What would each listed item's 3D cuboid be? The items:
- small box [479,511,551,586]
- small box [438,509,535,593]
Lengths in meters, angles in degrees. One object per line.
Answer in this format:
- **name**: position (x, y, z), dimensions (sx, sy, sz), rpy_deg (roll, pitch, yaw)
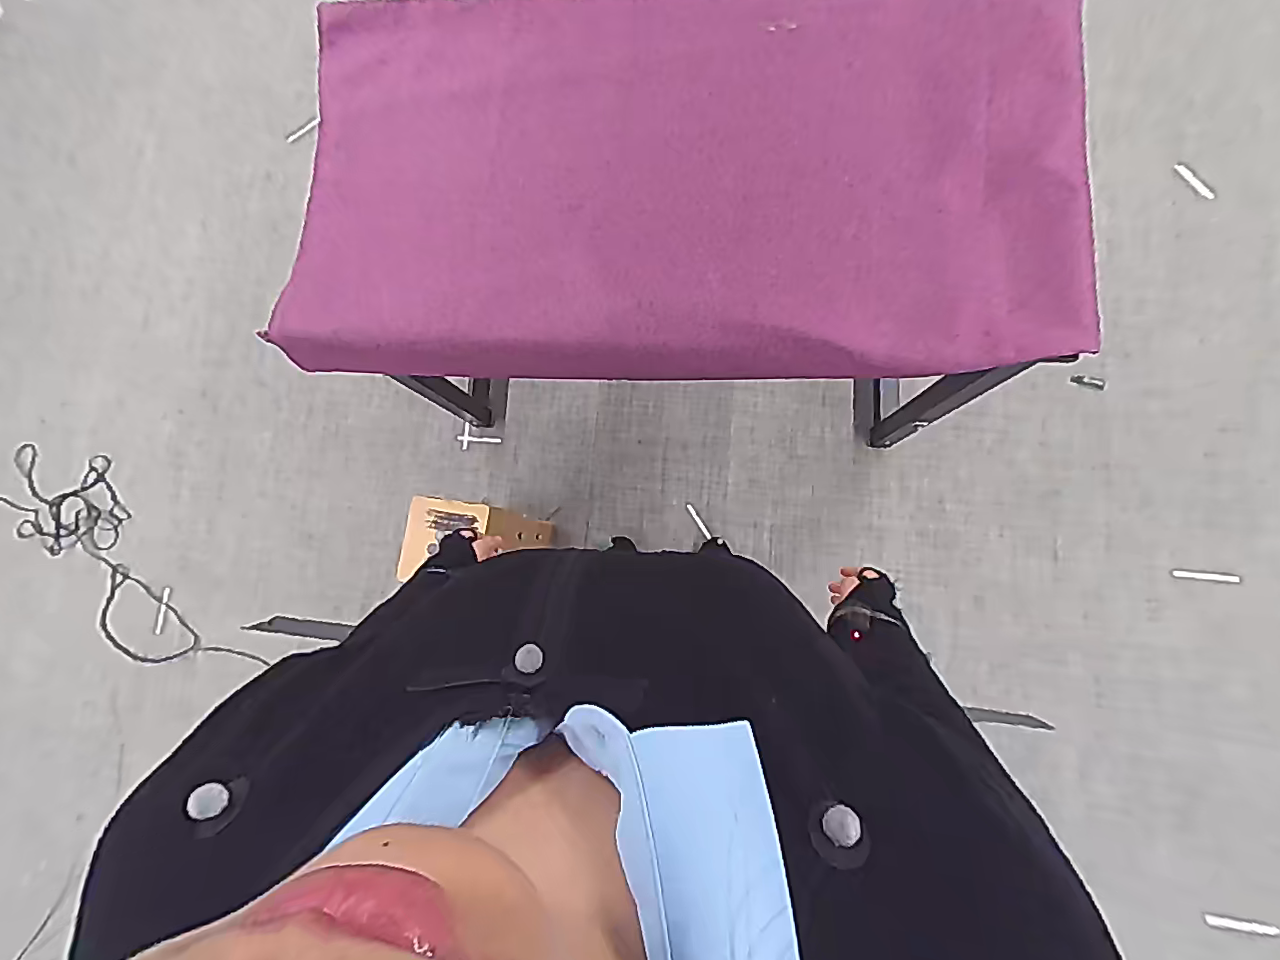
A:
- **small box**: position (-0.352, 0.190, 1.466), dimensions (0.168, 0.176, 0.179), rpy_deg (10, 83, 7)
- **small box**: position (-0.360, 0.171, 1.303), dimensions (0.168, 0.176, 0.179), rpy_deg (5, 83, 6)
